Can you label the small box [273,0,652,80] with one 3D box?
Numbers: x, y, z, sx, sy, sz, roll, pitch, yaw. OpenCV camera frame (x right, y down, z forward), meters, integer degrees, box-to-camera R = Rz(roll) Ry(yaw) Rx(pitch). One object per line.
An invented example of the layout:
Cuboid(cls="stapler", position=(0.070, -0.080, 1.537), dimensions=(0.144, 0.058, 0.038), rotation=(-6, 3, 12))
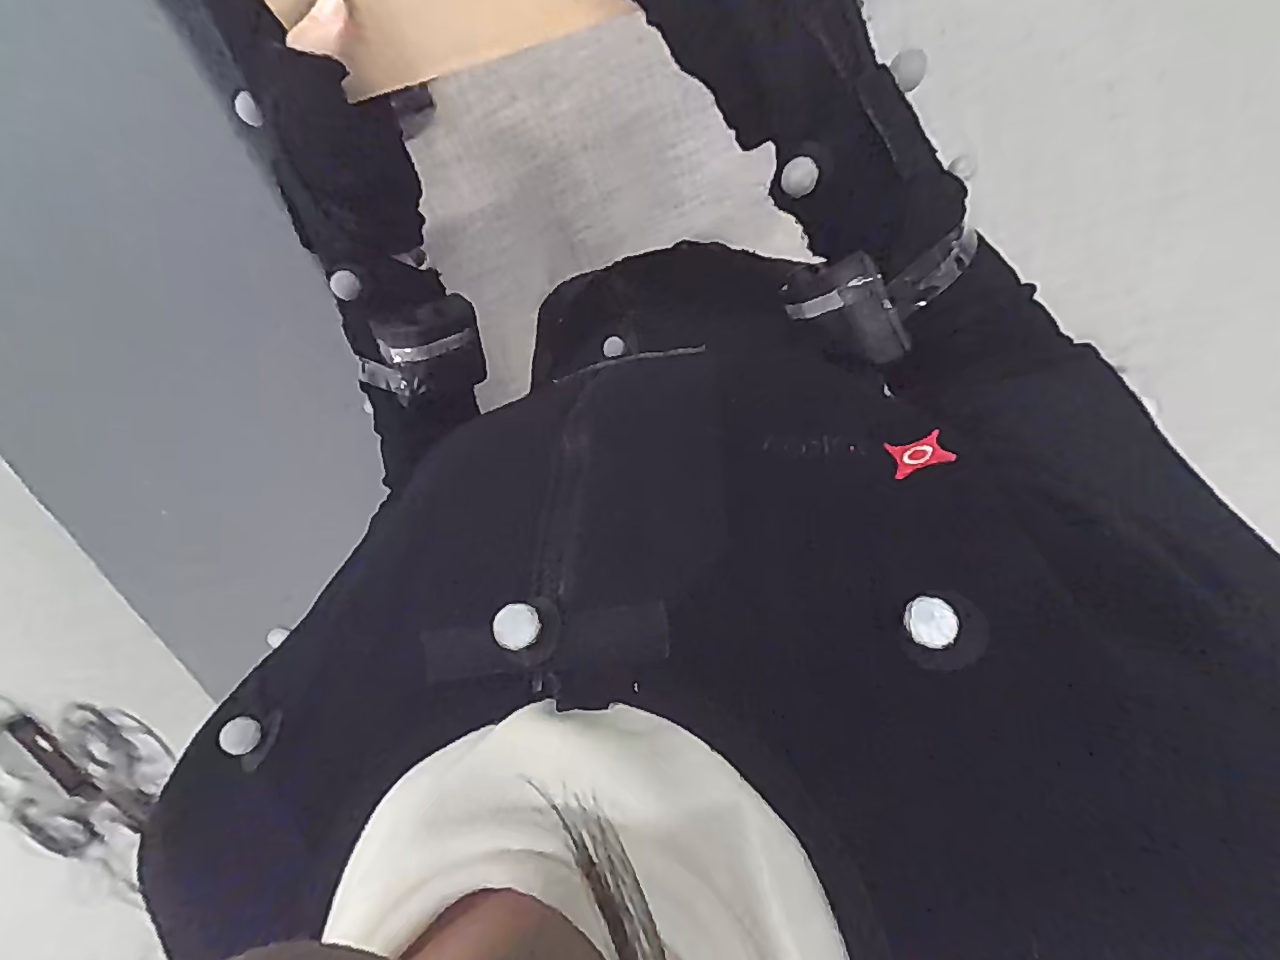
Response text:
Cuboid(cls="small box", position=(-0.081, -0.305, 0.209), dimensions=(0.179, 0.176, 0.168), rotation=(4, 154, 19))
